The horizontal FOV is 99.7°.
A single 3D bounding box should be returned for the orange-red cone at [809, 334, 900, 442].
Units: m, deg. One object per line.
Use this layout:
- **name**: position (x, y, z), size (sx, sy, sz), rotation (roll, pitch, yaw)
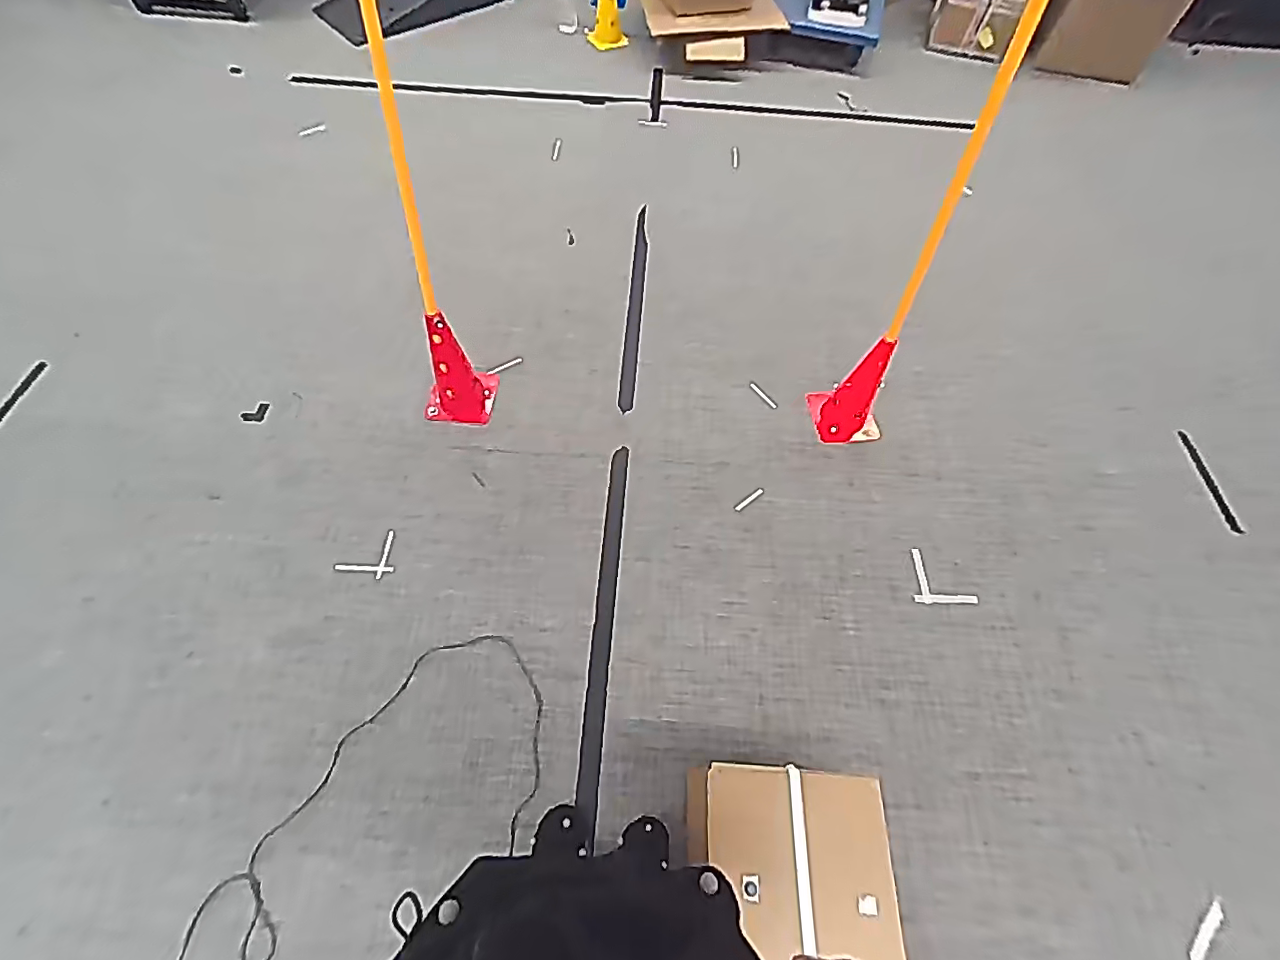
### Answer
- **orange-red cone**: position (0.659, -0.288, 1.577), size (0.199, 0.360, 0.198), rotation (-3, 61, -6)
